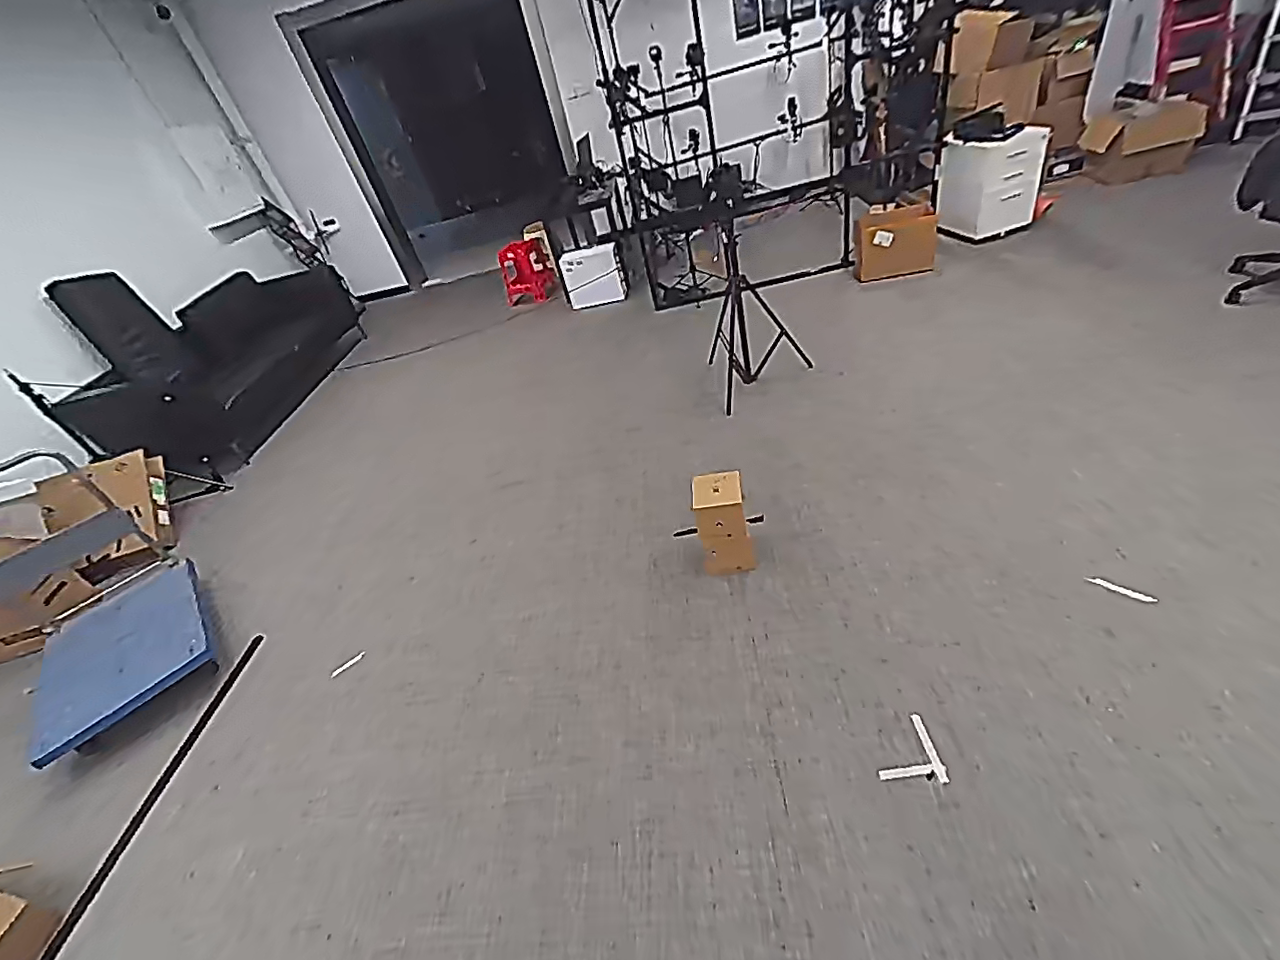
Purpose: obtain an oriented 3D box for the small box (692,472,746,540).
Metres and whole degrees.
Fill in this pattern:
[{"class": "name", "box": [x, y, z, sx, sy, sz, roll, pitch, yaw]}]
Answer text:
[{"class": "small box", "box": [0.279, 0.097, 1.900, 0.168, 0.176, 0.179, -8, 37, 12]}]
